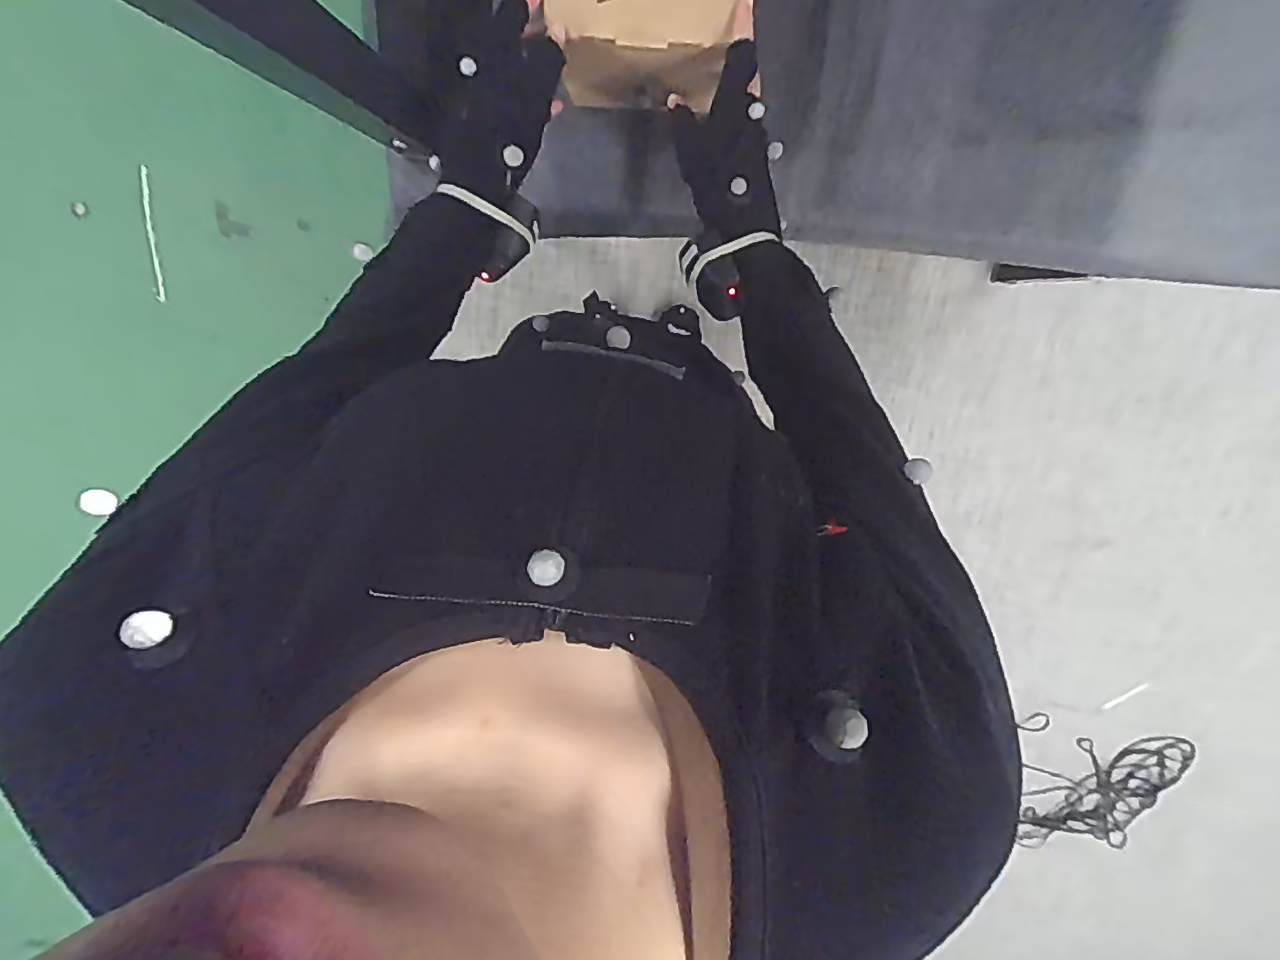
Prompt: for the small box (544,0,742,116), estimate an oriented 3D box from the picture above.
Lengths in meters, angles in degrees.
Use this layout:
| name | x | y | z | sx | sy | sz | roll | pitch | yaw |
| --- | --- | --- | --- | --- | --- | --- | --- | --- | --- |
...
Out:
| name | x | y | z | sx | sy | sz | roll | pitch | yaw |
| --- | --- | --- | --- | --- | --- | --- | --- | --- | --- |
| small box | 0.008 | -0.474 | 0.505 | 0.168 | 0.176 | 0.179 | 4 | 108 | 1 |
